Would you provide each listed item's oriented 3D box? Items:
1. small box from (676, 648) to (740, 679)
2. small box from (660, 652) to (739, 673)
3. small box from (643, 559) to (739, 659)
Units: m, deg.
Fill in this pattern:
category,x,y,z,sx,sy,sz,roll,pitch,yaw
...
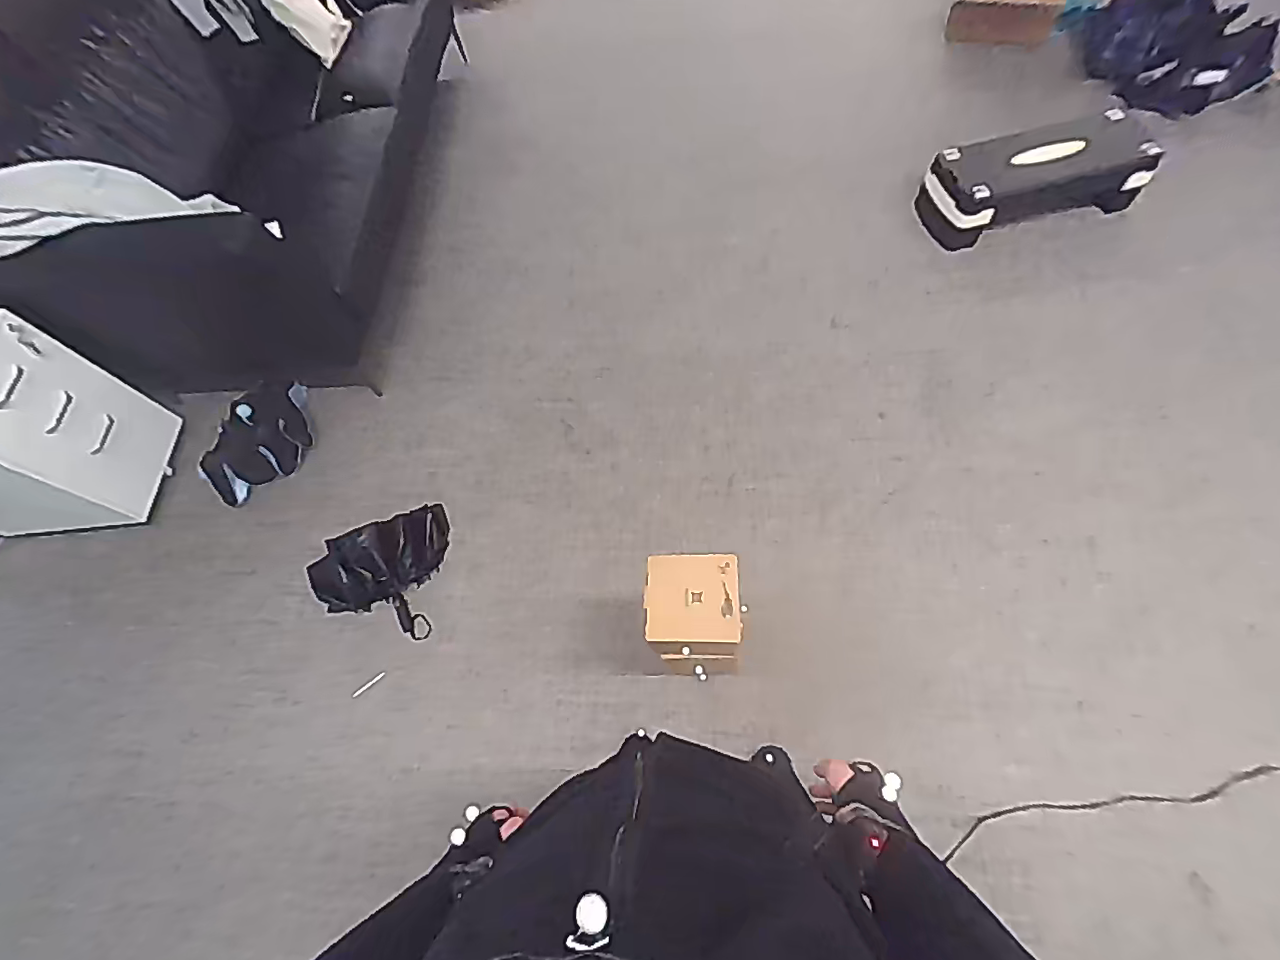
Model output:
category,x,y,z,sx,sy,sz,roll,pitch,yaw
small box,0.162,0.403,1.372,0.168,0.176,0.179,-5,65,7
small box,0.133,0.336,1.224,0.168,0.176,0.179,-3,64,7
small box,0.106,0.262,1.080,0.179,0.176,0.168,-2,64,8
